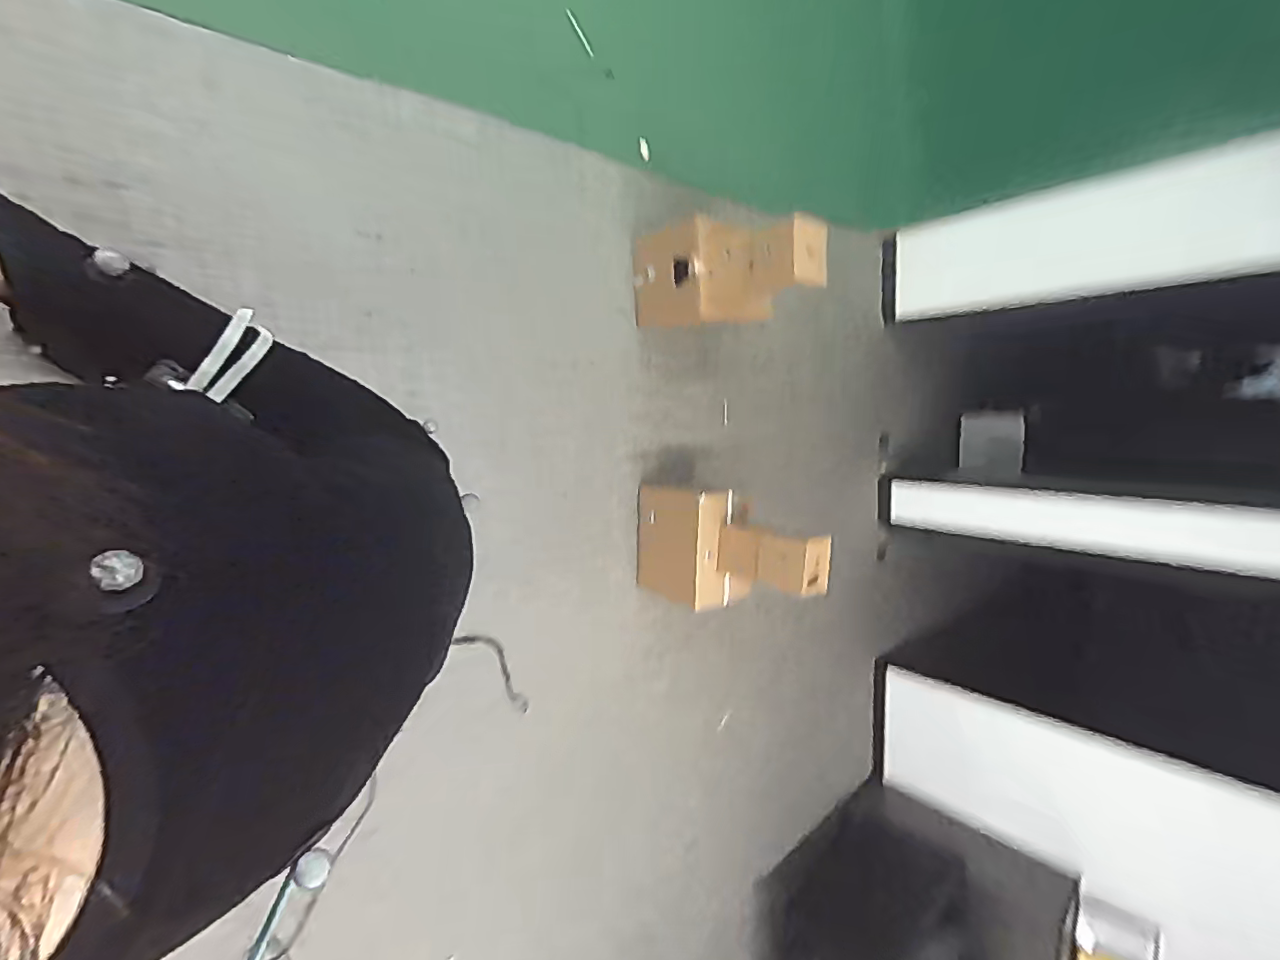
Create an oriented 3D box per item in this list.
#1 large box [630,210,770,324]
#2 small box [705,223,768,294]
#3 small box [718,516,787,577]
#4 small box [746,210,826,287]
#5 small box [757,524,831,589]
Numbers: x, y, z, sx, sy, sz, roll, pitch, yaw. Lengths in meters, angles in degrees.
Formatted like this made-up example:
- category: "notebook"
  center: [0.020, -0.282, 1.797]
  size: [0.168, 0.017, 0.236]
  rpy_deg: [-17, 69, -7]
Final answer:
- category: "large box"
  center: [0.220, -0.740, 1.948]
  size: [0.408, 0.320, 0.320]
  rpy_deg: [-13, 103, -41]
- category: "small box"
  center: [0.317, -0.694, 1.712]
  size: [0.179, 0.176, 0.168]
  rpy_deg: [-10, 102, -42]
- category: "small box"
  center: [0.390, 0.226, 1.884]
  size: [0.168, 0.176, 0.179]
  rpy_deg: [0, 95, -44]
- category: "small box"
  center: [0.426, -0.671, 1.589]
  size: [0.179, 0.176, 0.168]
  rpy_deg: [-10, 102, -41]
- category: "small box"
  center: [0.499, 0.243, 1.763]
  size: [0.168, 0.176, 0.179]
  rpy_deg: [1, 93, -44]
